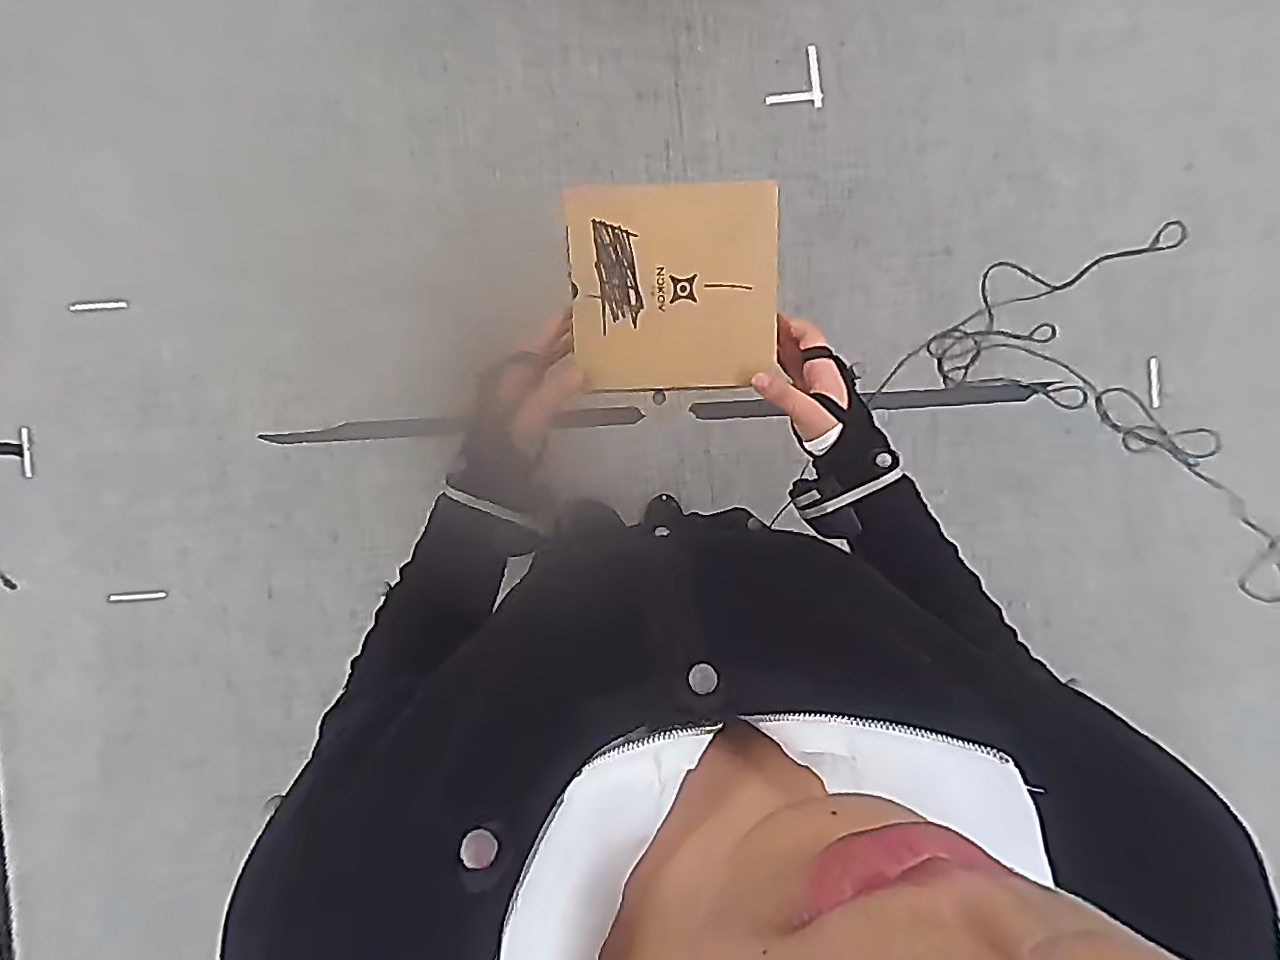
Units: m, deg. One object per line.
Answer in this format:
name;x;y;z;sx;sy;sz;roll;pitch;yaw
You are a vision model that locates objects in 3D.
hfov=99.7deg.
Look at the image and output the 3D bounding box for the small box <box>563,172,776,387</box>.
small box;0.026;-0.179;0.530;0.179;0.176;0.168;-2;99;-1
